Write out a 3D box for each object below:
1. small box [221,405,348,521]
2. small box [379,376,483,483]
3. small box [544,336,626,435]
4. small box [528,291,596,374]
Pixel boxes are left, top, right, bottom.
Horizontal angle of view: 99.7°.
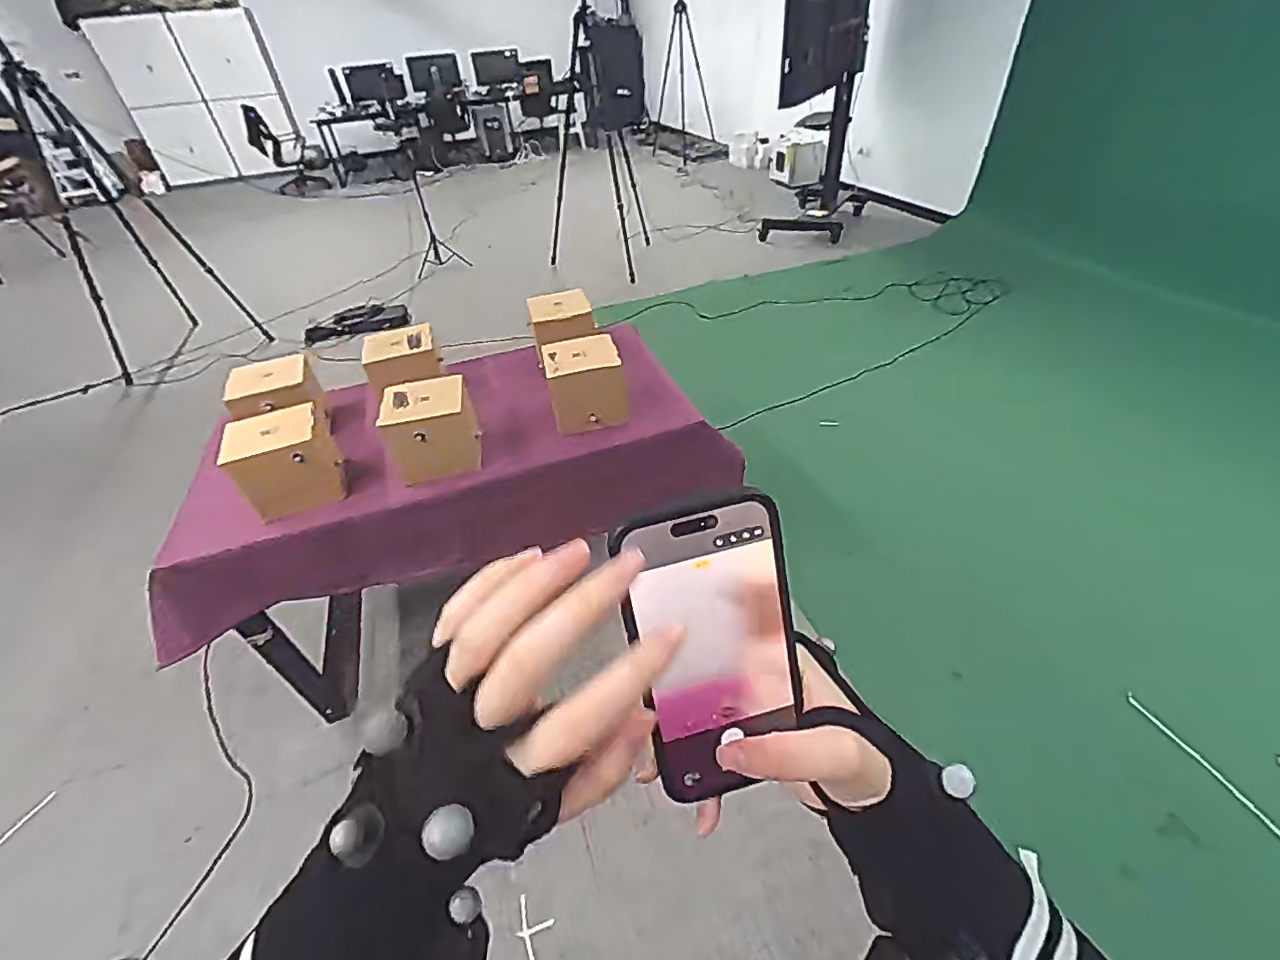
[{"bbox_3d":[-0.769,-0.036,1.187,0.179,0.176,0.168,-19,42,-17],"label":"small box"},{"bbox_3d":[-0.470,-0.113,1.241,0.179,0.176,0.168,-11,41,-8],"label":"small box"},{"bbox_3d":[-0.134,-0.234,1.341,0.179,0.176,0.168,-11,41,-7],"label":"small box"},{"bbox_3d":[-0.222,-0.427,1.572,0.168,0.176,0.179,-14,42,-9],"label":"small box"}]
